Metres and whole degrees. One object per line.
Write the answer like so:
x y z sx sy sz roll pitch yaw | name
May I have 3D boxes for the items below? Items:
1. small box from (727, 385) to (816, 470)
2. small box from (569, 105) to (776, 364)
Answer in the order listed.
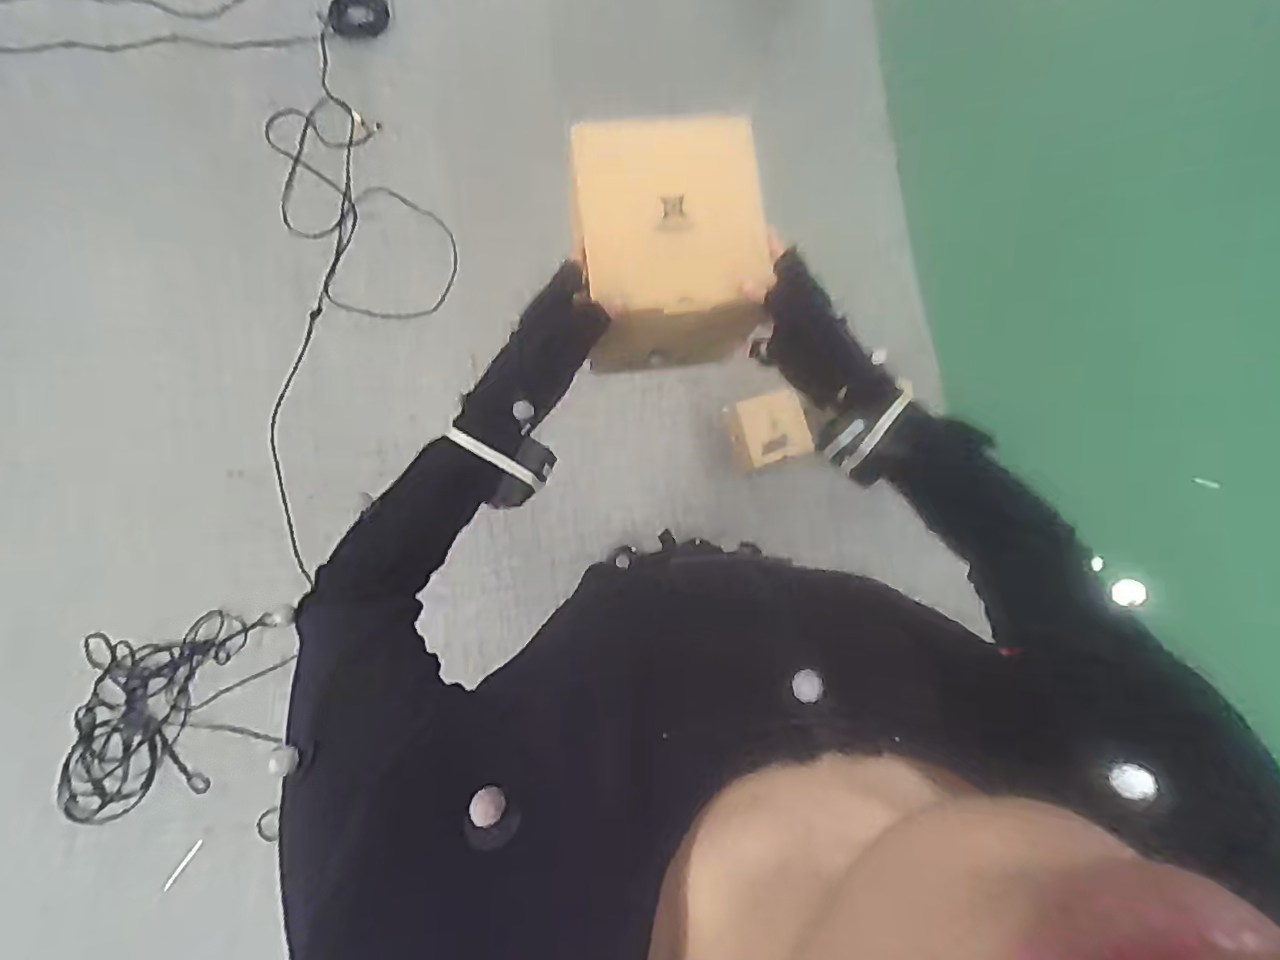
0.344 -0.131 1.441 0.168 0.176 0.179 -16 83 -3 | small box
0.018 -0.232 0.543 0.168 0.176 0.179 -7 85 -6 | small box
